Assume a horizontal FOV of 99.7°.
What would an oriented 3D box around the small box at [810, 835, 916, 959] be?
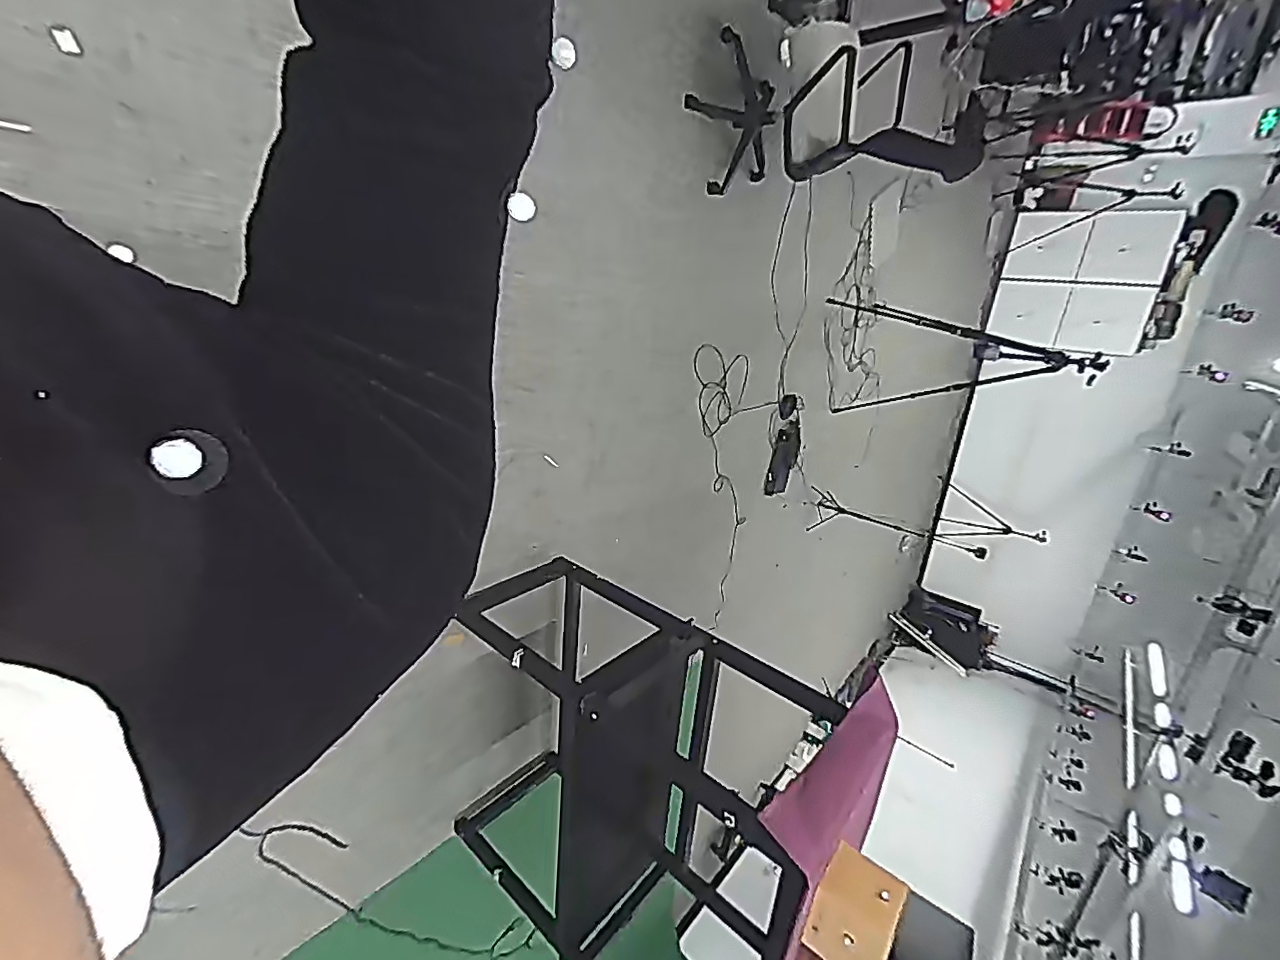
[{"bbox_3d":[0.513,0.982,1.250,0.179,0.176,0.168,-13,115,-50],"label":"small box"}]
